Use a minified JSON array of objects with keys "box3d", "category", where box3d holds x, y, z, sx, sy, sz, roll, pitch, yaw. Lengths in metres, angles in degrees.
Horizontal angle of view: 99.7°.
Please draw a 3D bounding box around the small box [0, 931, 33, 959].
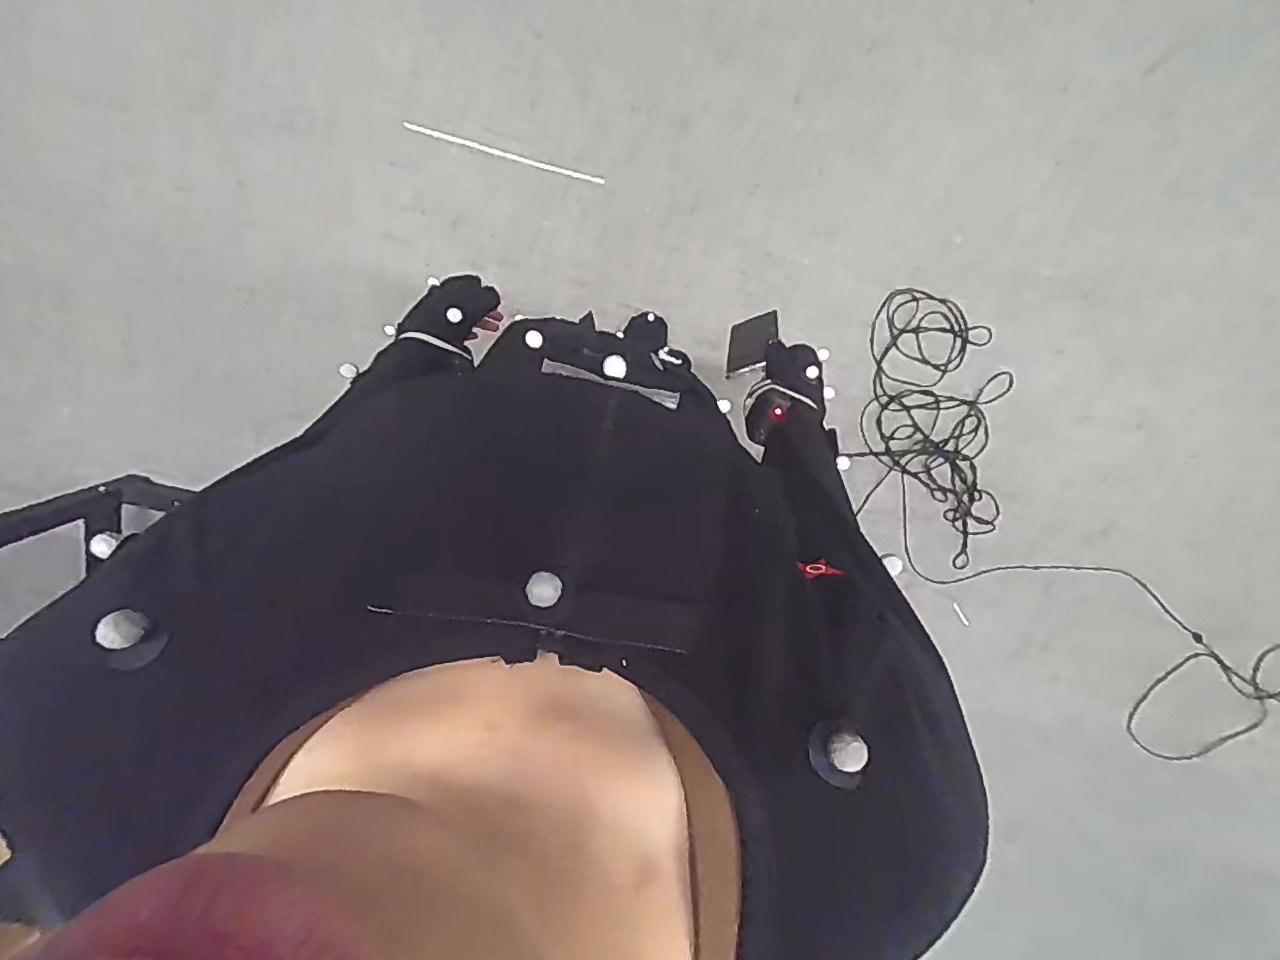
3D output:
[{"box3d":[-1.184,0.891,0.901,0.168,0.176,0.179,17,105,-6],"category":"small box"}]
